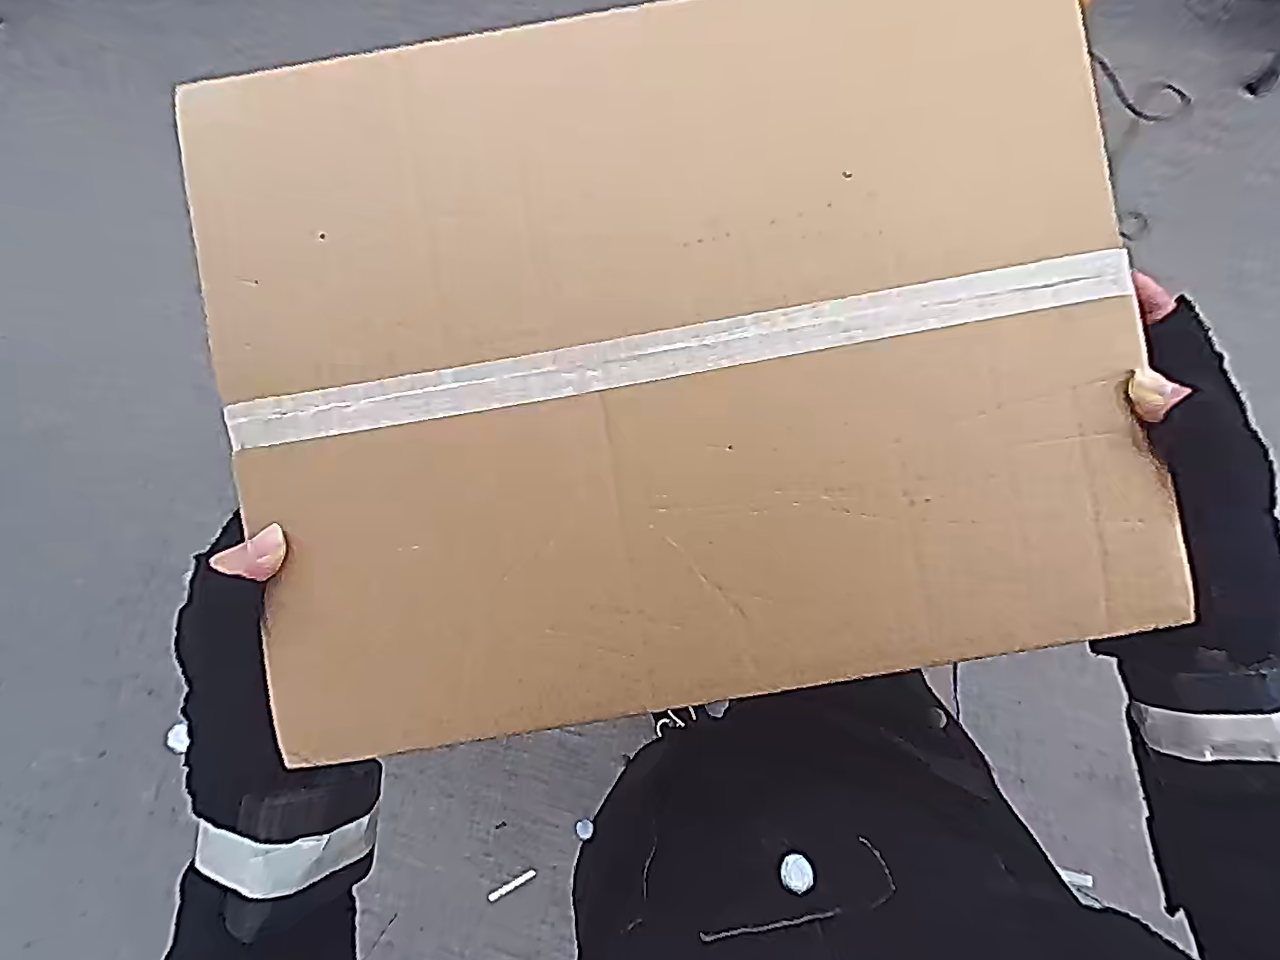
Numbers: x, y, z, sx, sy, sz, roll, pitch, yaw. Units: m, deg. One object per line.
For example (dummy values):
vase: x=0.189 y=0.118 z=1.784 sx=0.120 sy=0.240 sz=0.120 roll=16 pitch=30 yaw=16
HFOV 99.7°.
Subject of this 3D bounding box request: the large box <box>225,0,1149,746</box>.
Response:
large box: x=0.023 y=-0.056 z=0.403 sx=0.408 sy=0.320 sz=0.320 roll=-9 pitch=89 yaw=1
